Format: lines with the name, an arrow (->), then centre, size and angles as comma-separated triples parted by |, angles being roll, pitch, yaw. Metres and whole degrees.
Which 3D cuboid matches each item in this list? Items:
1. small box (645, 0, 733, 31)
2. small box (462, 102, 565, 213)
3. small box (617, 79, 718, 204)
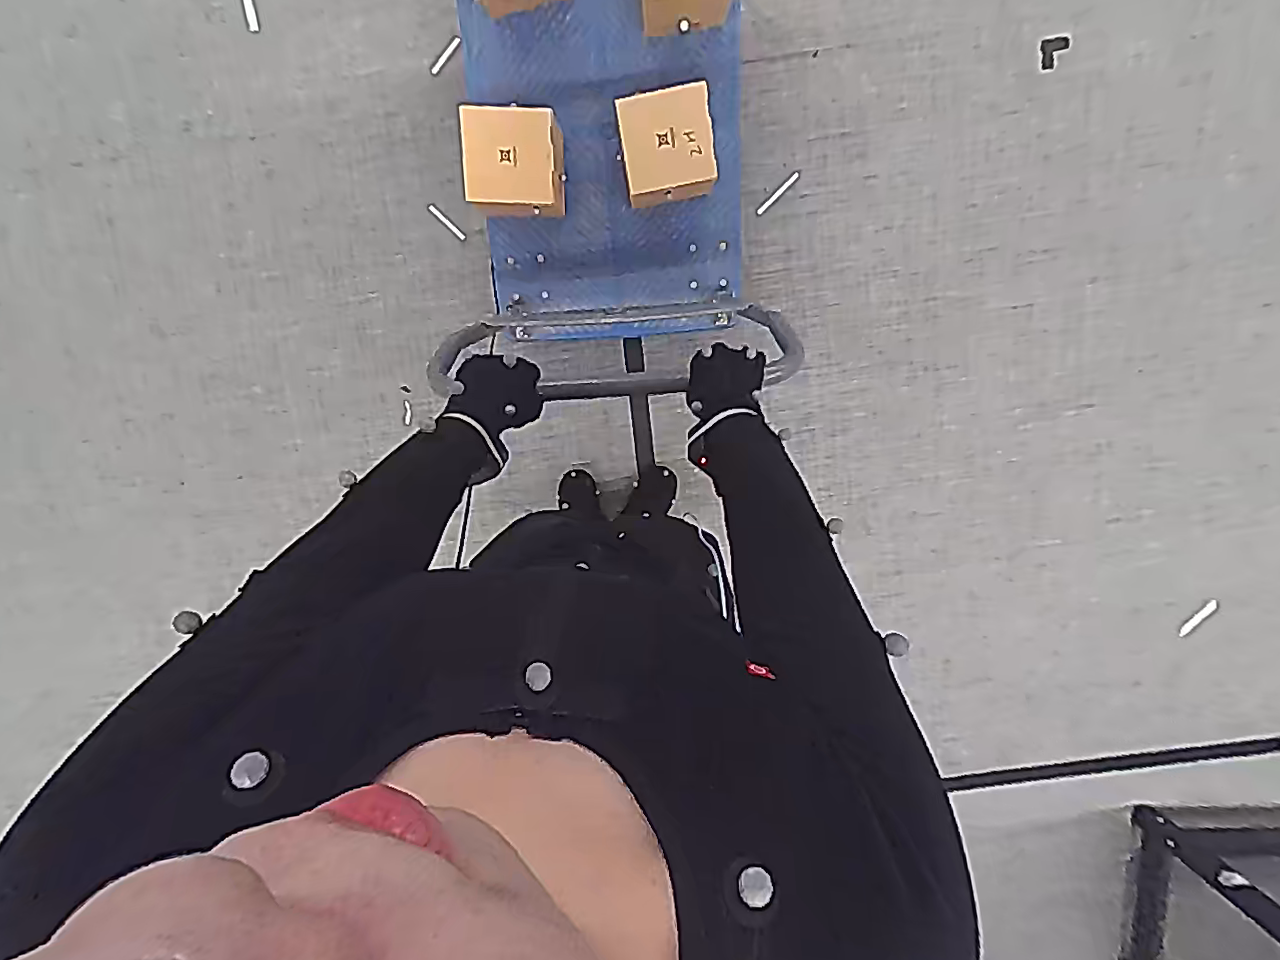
small box -> 0.087, -0.979, 0.997 | 0.168, 0.176, 0.179 | -6, 110, 3
small box -> -0.252, -0.653, 1.112 | 0.179, 0.176, 0.168 | 1, 109, -2
small box -> 0.056, -0.676, 1.102 | 0.179, 0.176, 0.168 | -9, 109, 4
